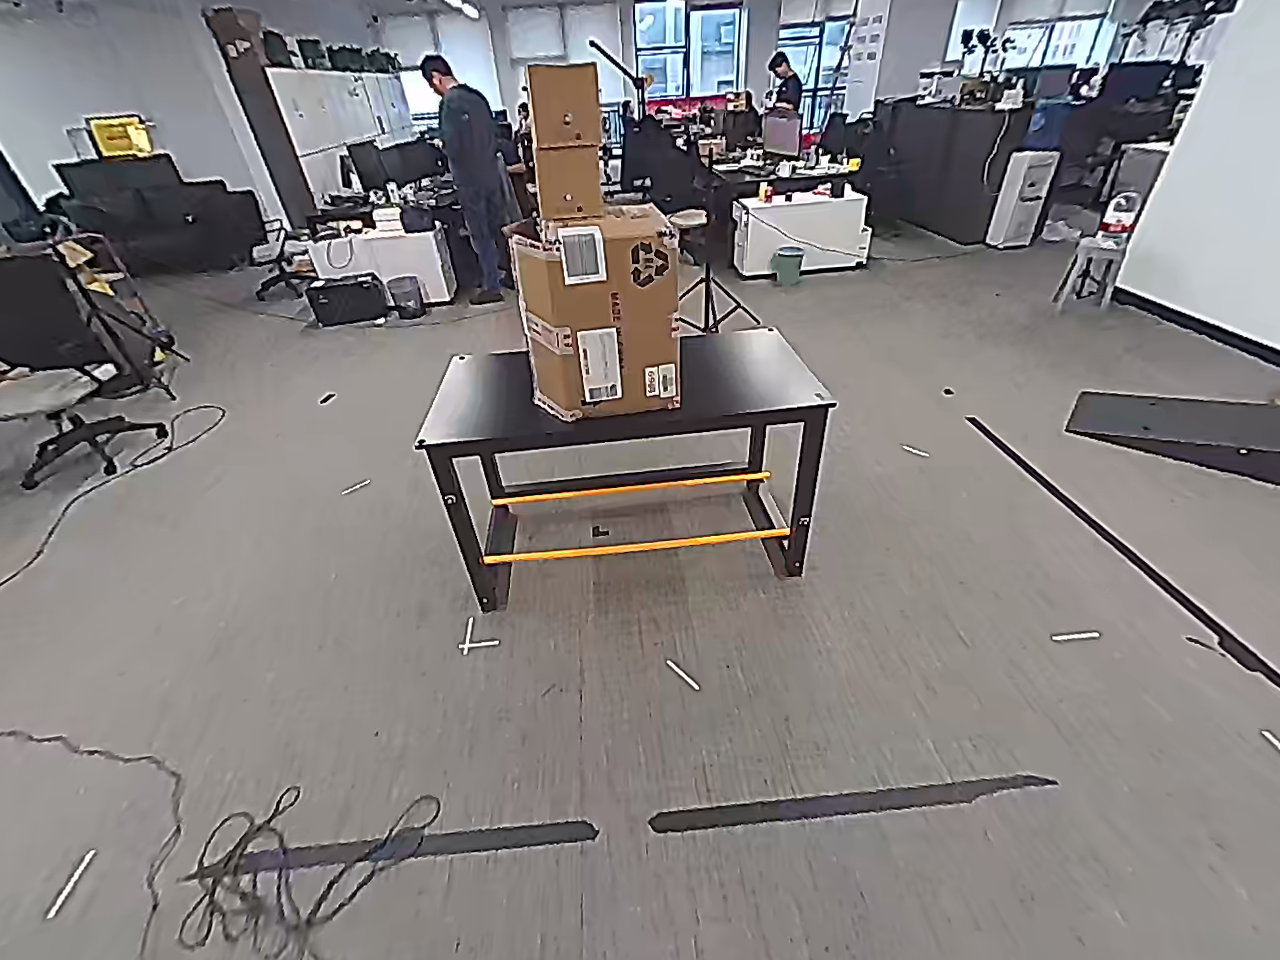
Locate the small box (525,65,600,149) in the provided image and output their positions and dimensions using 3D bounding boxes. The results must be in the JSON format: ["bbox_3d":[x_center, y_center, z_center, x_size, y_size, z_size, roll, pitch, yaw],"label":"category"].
[{"bbox_3d":[-0.199,-0.948,1.384,0.168,0.176,0.179,-9,35,-9],"label":"small box"}]

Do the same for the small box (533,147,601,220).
[{"bbox_3d":[-0.201,-0.816,1.483,0.168,0.176,0.179,-8,35,-8],"label":"small box"}]
